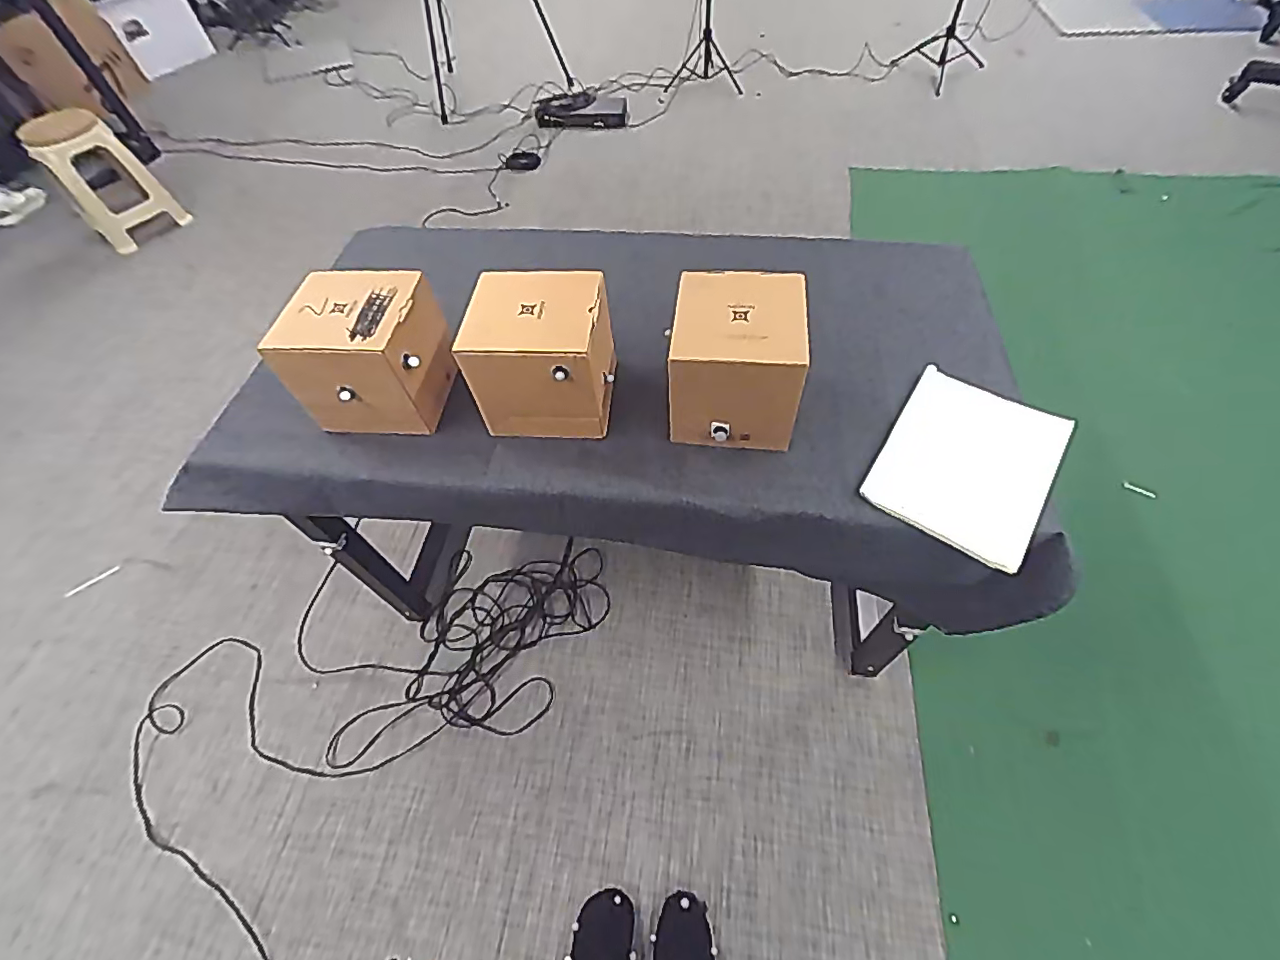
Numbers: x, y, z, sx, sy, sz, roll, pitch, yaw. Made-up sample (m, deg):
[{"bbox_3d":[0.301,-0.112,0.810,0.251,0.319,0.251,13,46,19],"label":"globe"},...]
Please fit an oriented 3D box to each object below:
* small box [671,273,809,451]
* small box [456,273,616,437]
[{"bbox_3d":[0.133,-0.162,0.750,0.168,0.176,0.179,3,56,8],"label":"small box"},{"bbox_3d":[-0.136,-0.175,0.779,0.179,0.176,0.168,1,55,4],"label":"small box"}]
